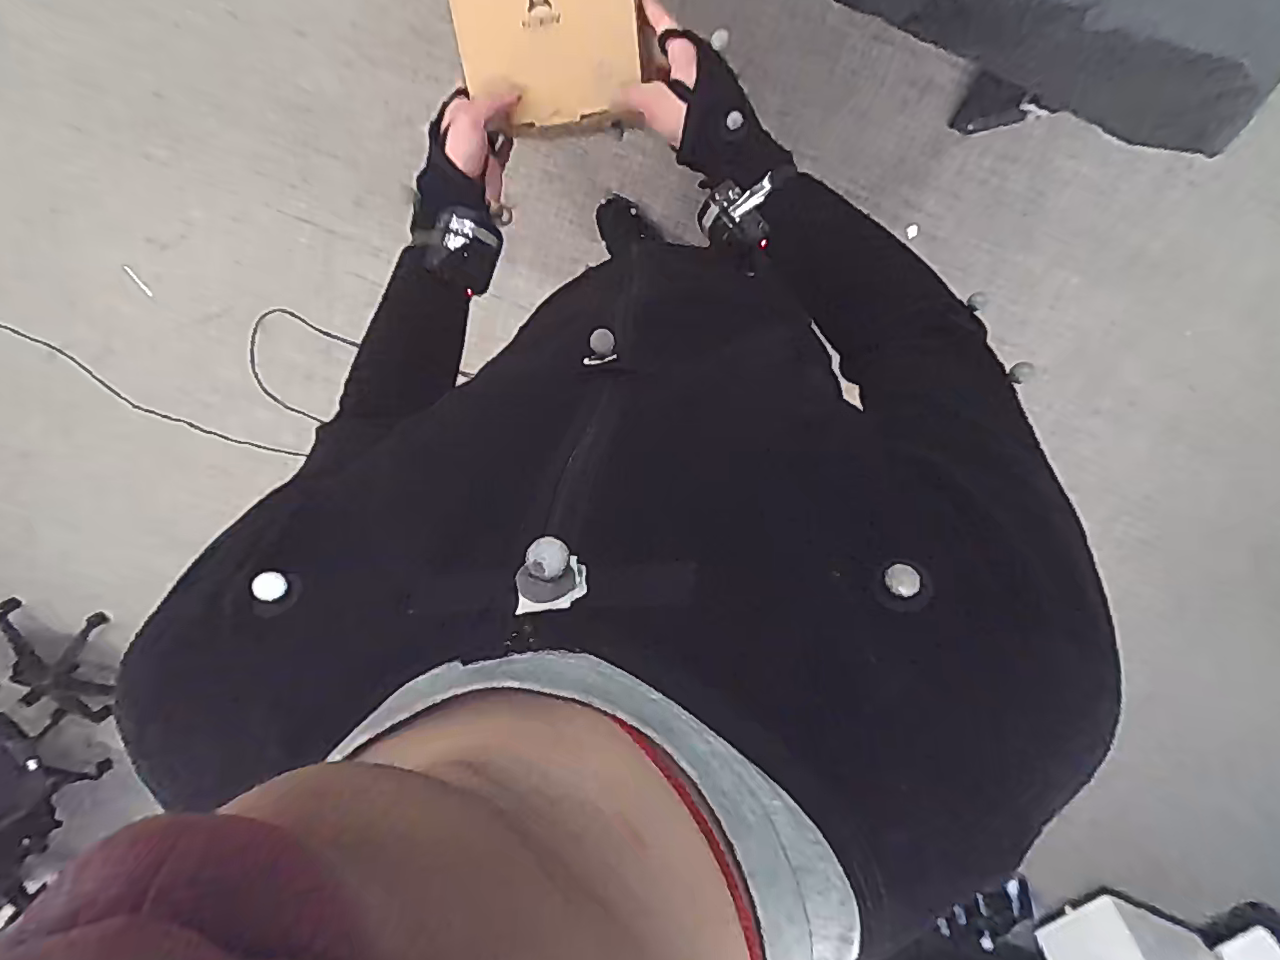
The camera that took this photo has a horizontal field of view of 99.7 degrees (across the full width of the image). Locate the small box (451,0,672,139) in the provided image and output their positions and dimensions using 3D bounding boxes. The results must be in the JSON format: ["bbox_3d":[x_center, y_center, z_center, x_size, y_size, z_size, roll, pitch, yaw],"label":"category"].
[{"bbox_3d":[-0.067,-0.444,0.527,0.168,0.176,0.179,1,119,14],"label":"small box"}]
